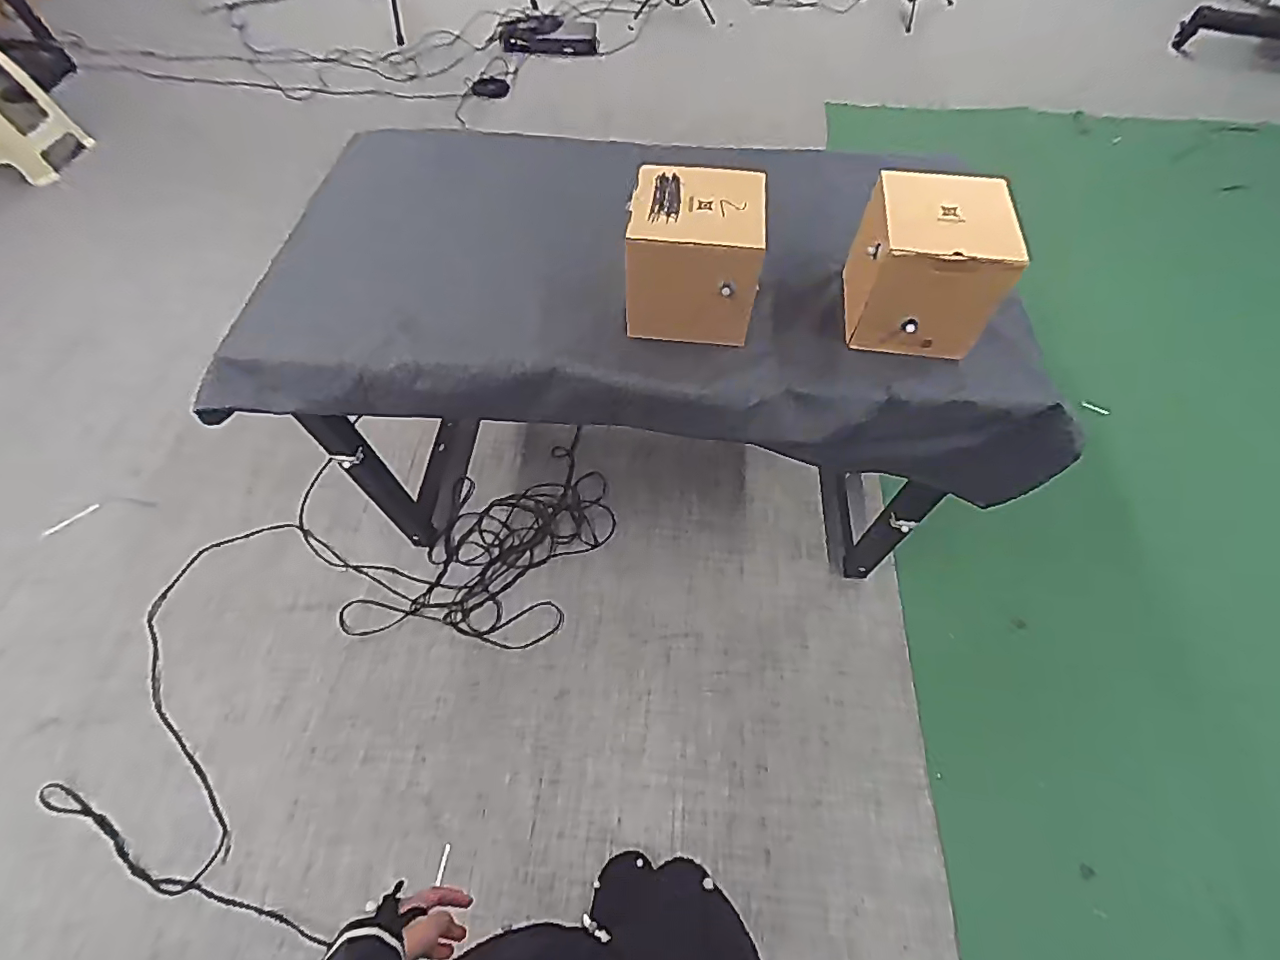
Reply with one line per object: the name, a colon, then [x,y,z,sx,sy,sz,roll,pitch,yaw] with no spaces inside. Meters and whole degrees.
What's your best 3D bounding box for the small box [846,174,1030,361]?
small box: [0.400,-0.296,0.765,0.168,0.176,0.179,7,60,5]
